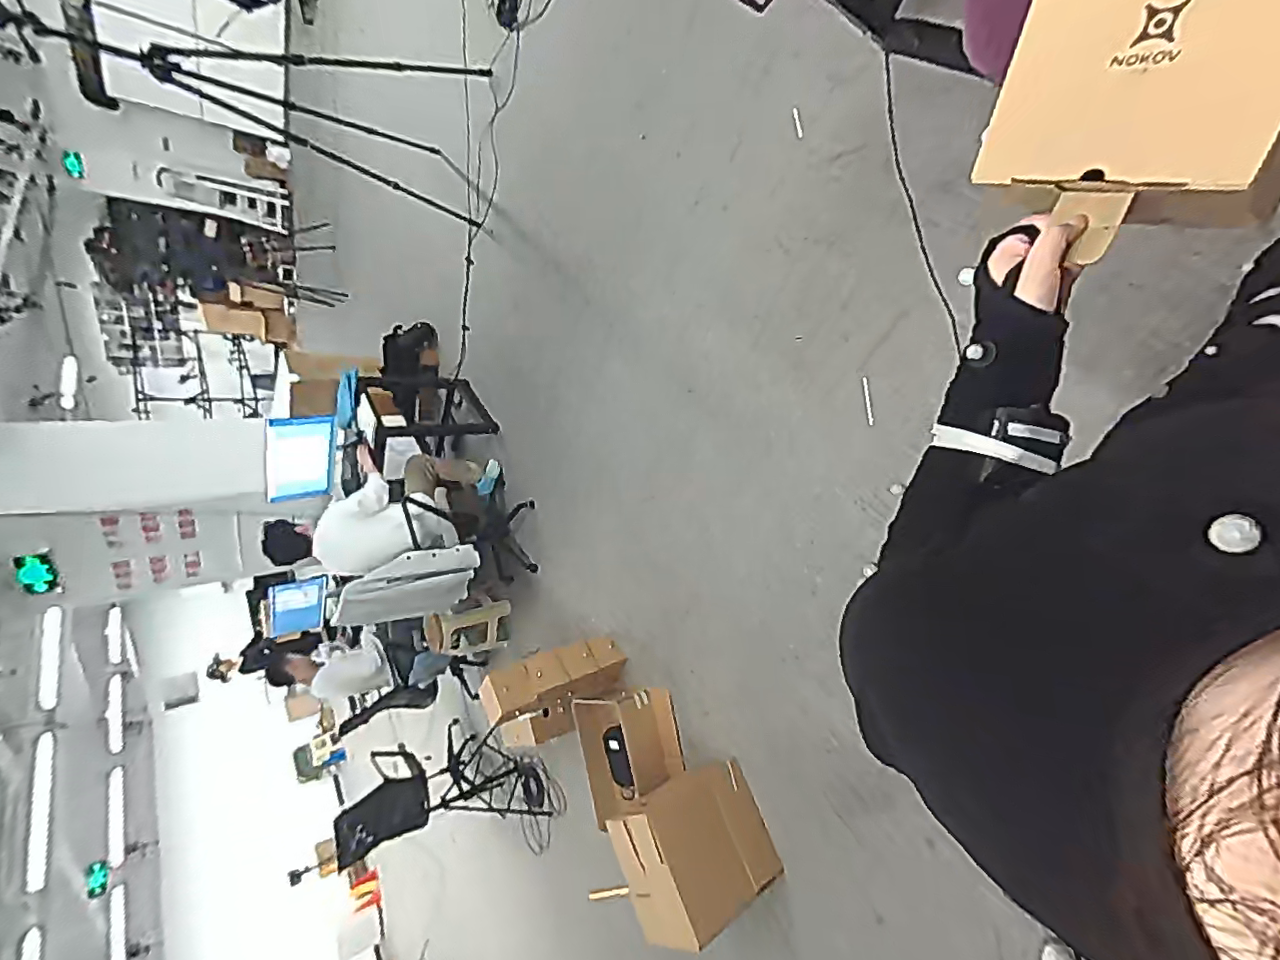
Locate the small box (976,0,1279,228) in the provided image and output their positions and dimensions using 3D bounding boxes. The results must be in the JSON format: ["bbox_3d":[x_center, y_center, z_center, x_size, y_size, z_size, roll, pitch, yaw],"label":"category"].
[{"bbox_3d":[0.399,-0.304,0.406,0.168,0.176,0.179,33,123,41],"label":"small box"}]
